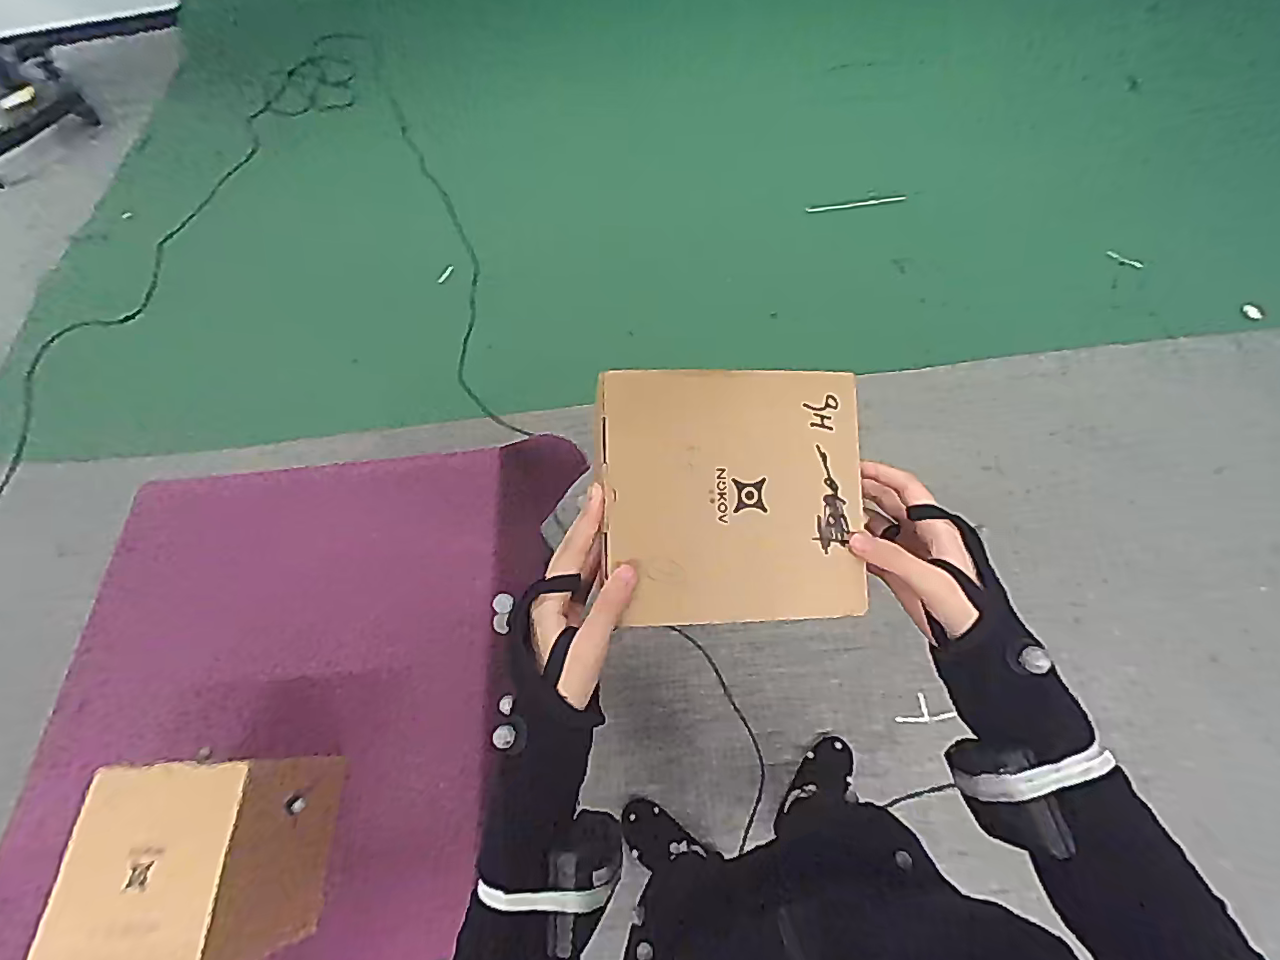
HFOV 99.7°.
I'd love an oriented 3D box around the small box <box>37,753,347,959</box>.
[{"bbox_3d":[-0.449,0.395,0.580,0.168,0.176,0.179,-5,63,5],"label":"small box"}]
